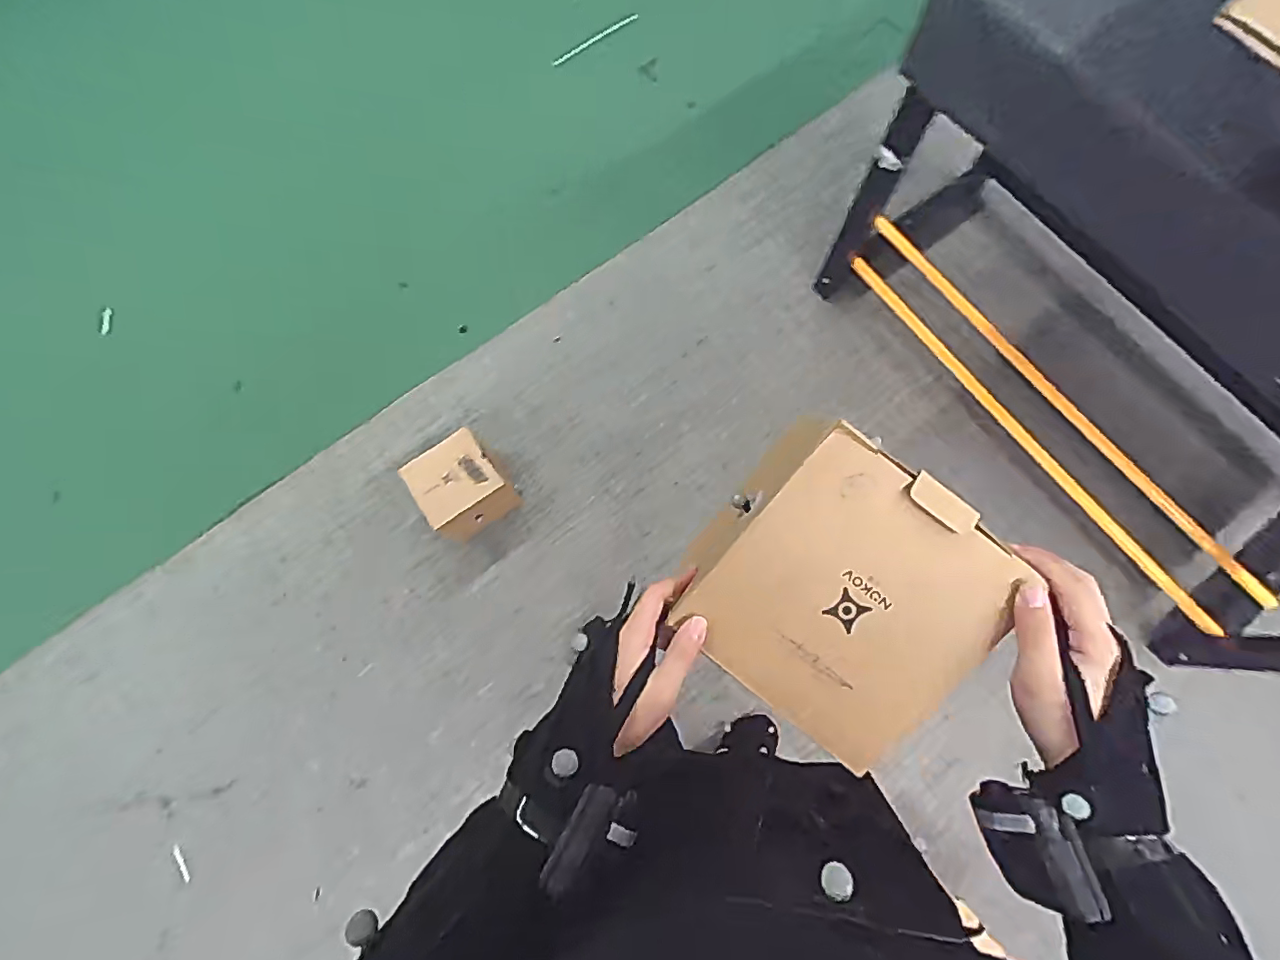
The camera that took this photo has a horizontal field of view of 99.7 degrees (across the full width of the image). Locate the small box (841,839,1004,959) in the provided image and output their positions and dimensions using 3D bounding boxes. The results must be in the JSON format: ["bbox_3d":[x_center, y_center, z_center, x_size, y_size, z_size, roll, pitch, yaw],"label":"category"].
[{"bbox_3d":[0.508,0.819,1.002,0.179,0.176,0.168,-41,78,-9],"label":"small box"}]

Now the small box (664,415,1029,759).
[{"bbox_3d":[0.138,0.063,0.428,0.168,0.176,0.179,38,101,2],"label":"small box"}]

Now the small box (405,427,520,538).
[{"bbox_3d":[-0.392,0.012,1.239,0.179,0.176,0.168,-34,77,-6],"label":"small box"}]
